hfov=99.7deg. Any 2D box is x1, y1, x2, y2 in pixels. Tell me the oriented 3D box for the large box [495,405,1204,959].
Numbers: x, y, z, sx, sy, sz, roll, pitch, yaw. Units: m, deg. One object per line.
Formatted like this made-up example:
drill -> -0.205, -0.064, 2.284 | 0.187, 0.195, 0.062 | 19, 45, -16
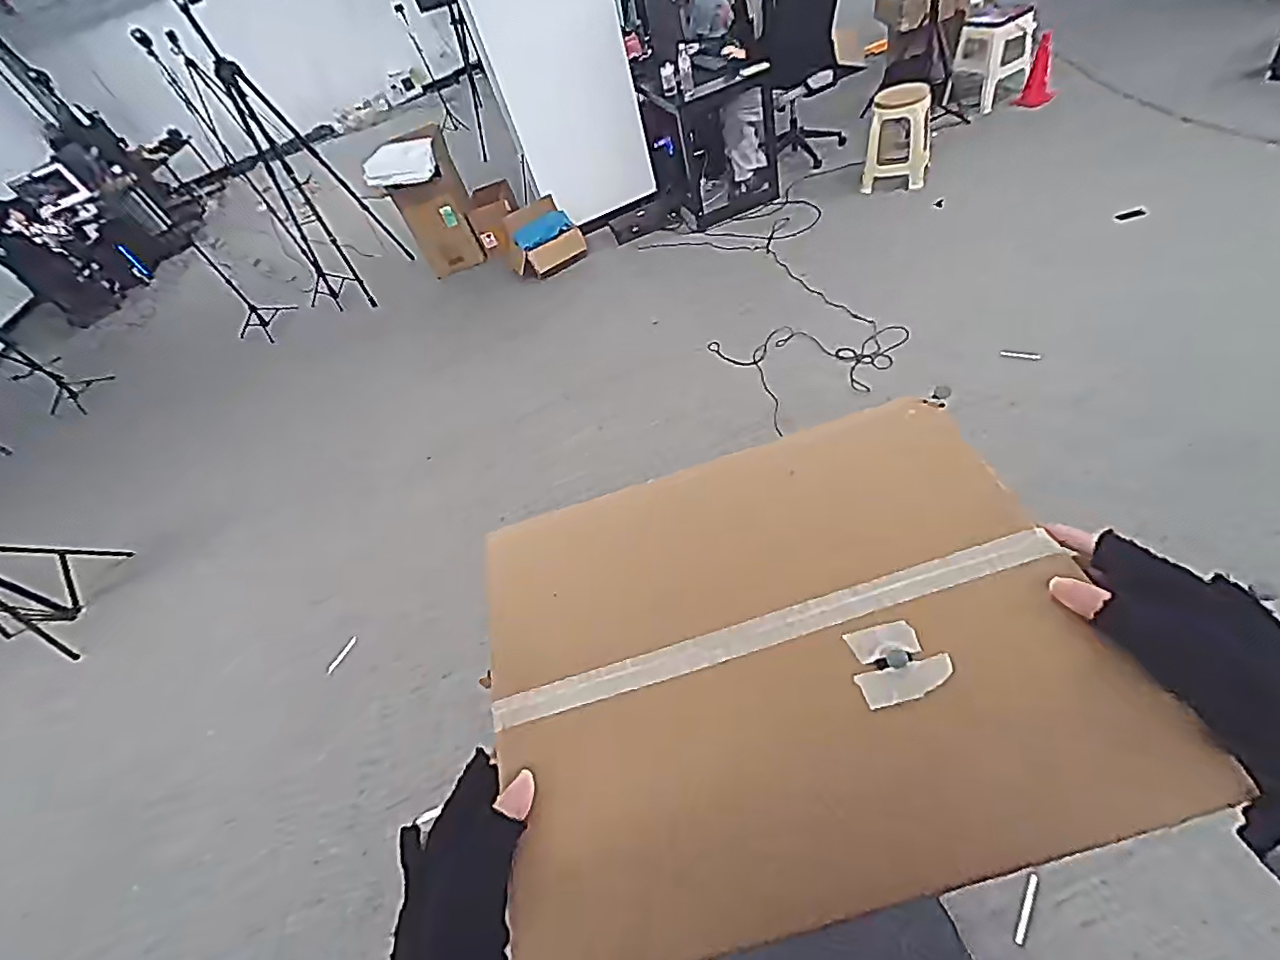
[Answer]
large box -> 0.122, 0.196, 0.510 | 0.408, 0.320, 0.320 | -18, 54, 1
